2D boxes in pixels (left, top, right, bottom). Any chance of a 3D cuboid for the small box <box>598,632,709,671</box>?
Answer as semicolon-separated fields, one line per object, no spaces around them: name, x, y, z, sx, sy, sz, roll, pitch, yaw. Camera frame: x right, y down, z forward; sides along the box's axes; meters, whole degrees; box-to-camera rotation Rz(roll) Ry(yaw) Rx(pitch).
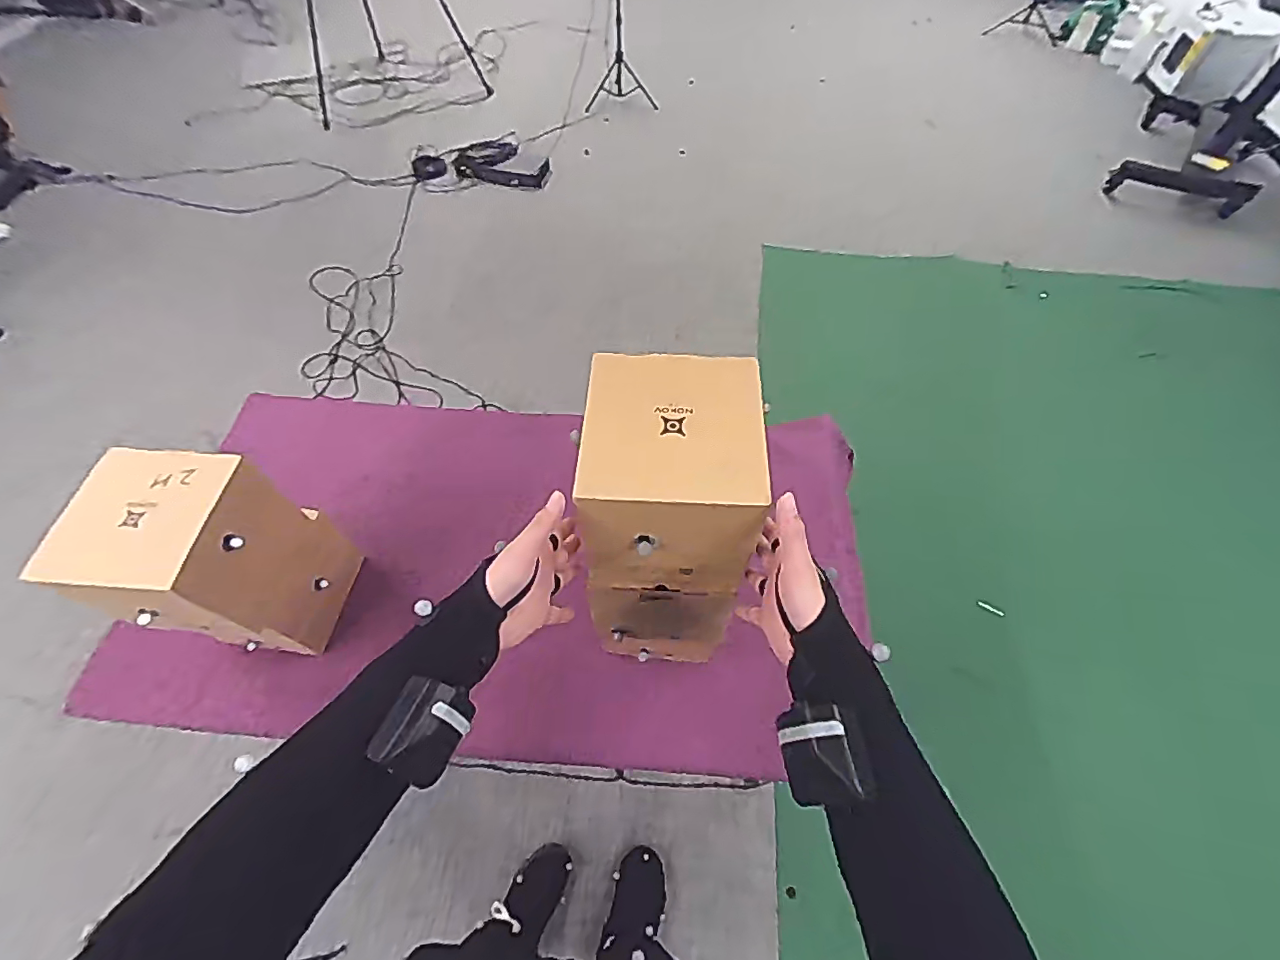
small box;0.026;0.177;0.834;0.168;0.176;0.179;5;56;4

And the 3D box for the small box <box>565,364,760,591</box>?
small box;0.025;0.002;0.558;0.168;0.176;0.179;2;55;2

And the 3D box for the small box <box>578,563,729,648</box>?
small box;0.023;0.102;0.687;0.168;0.176;0.179;3;55;3

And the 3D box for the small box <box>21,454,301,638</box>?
small box;-0.571;0.089;0.682;0.168;0.176;0.179;4;58;1
